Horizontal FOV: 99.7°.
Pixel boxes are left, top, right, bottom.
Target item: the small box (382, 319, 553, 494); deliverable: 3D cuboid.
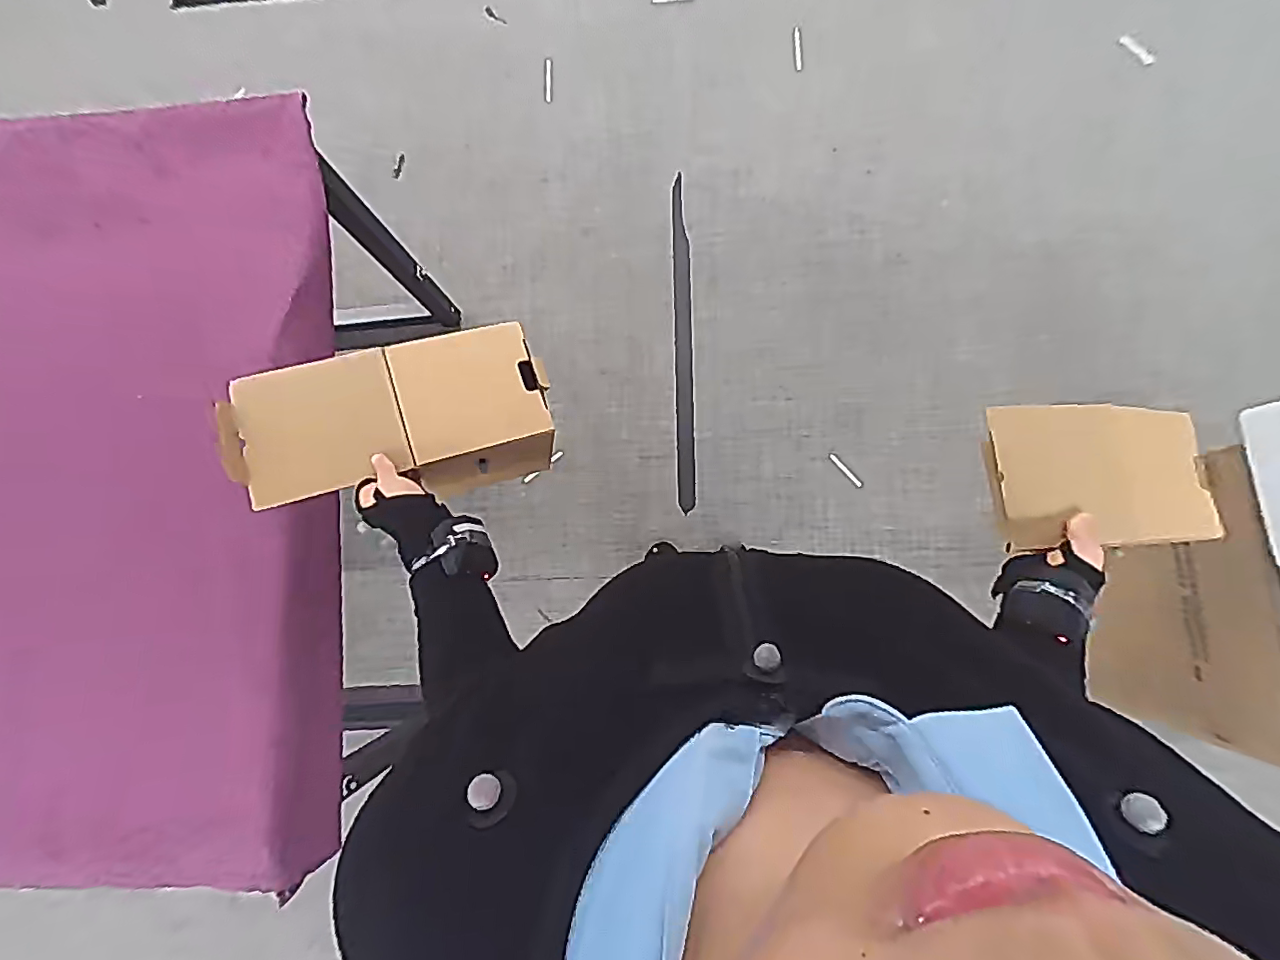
[{"bbox_3d":[-0.226,-0.092,0.741,0.179,0.176,0.168,-16,79,-16],"label":"small box"}]
